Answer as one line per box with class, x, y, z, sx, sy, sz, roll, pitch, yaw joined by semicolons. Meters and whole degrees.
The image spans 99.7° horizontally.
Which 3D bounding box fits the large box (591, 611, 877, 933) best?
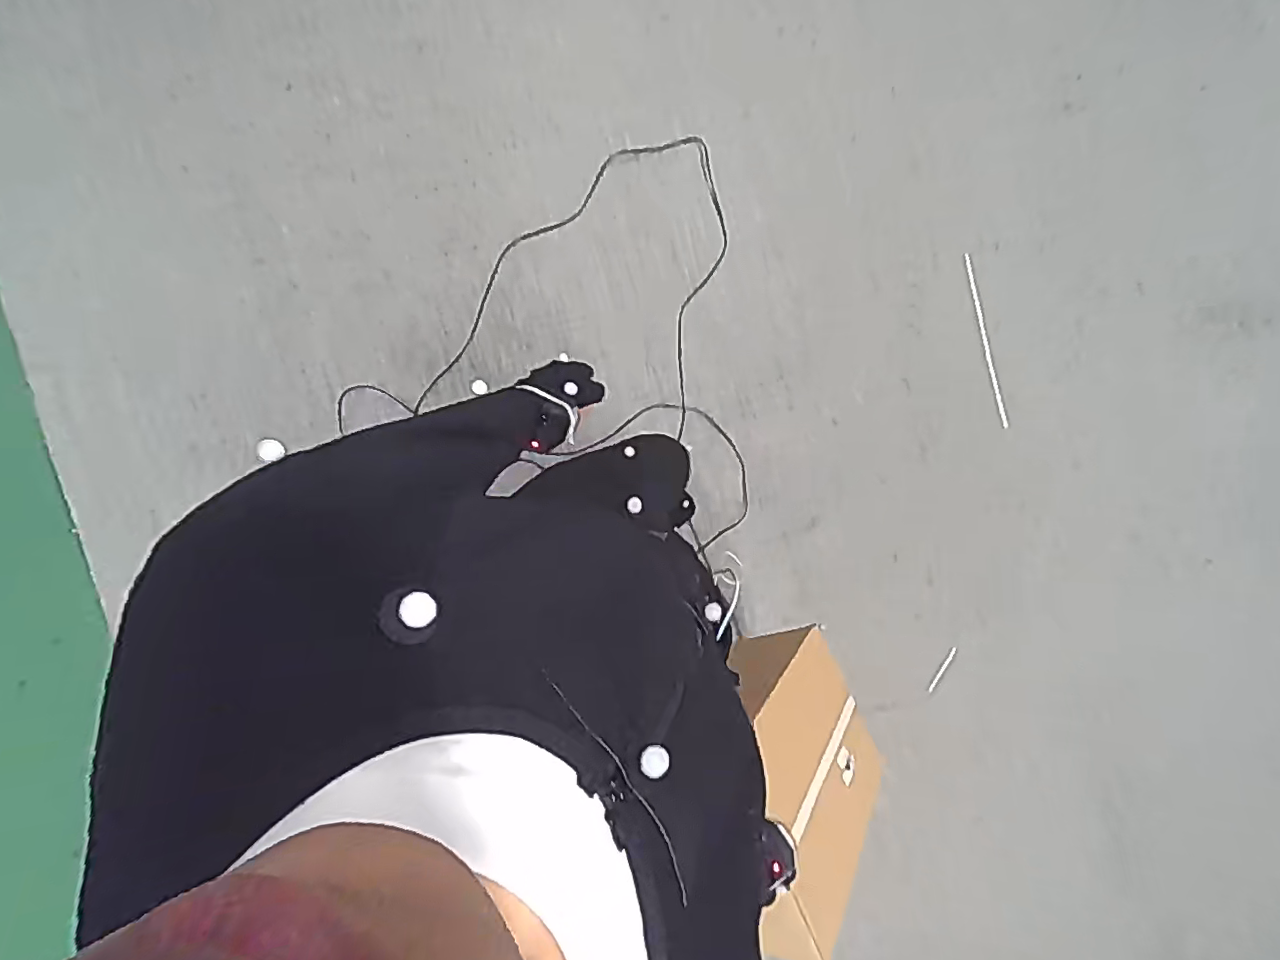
large box;0.187;0.495;0.993;0.320;0.408;0.320;-24;90;37
